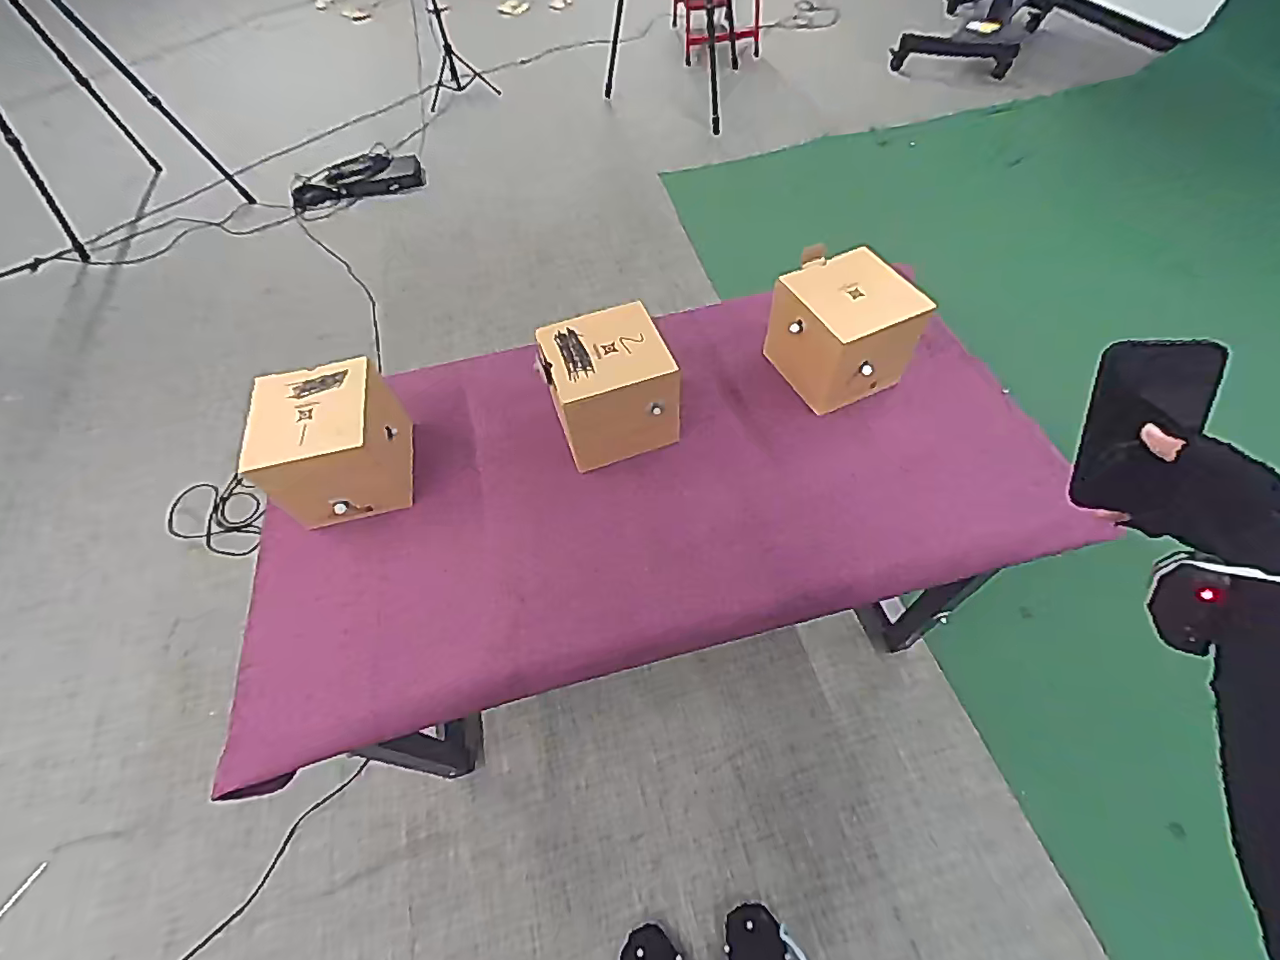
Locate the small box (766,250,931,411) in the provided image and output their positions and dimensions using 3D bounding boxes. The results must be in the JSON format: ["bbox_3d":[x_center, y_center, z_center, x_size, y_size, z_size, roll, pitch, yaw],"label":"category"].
[{"bbox_3d":[0.328,-0.236,0.890,0.168,0.176,0.179,-23,57,-10],"label":"small box"}]

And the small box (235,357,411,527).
[{"bbox_3d":[-0.463,-0.054,0.821,0.168,0.176,0.179,-13,58,-4],"label":"small box"}]
